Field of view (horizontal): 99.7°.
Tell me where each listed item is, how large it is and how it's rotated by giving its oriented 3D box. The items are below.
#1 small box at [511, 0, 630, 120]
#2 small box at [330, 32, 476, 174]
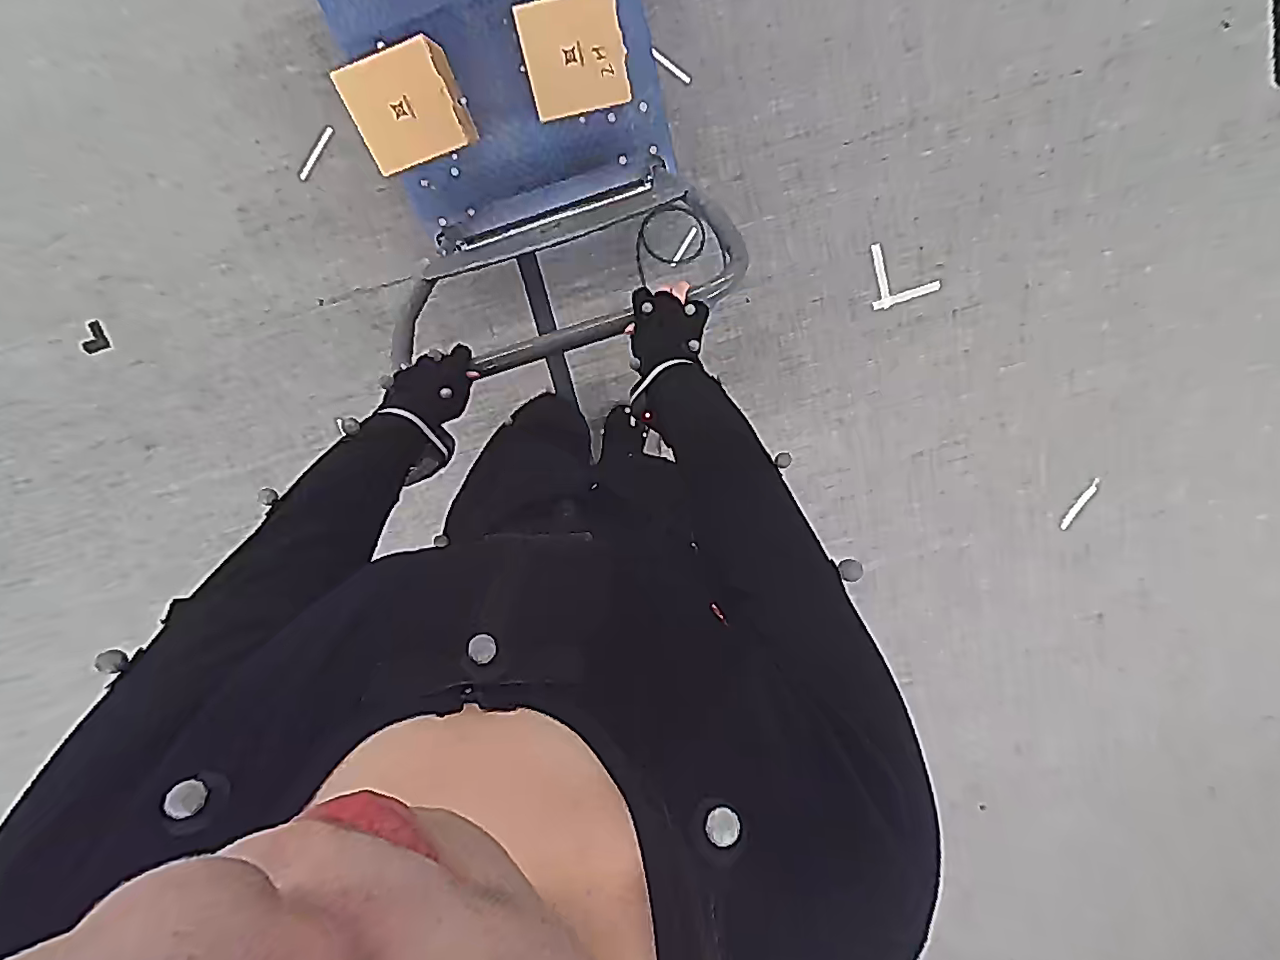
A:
[{"bbox_3d":[-0.123,-0.780,1.000,0.179,0.176,0.168,-13,124,0],"label":"small box"},{"bbox_3d":[-0.429,-0.694,1.012,0.179,0.176,0.168,-20,123,3],"label":"small box"}]
